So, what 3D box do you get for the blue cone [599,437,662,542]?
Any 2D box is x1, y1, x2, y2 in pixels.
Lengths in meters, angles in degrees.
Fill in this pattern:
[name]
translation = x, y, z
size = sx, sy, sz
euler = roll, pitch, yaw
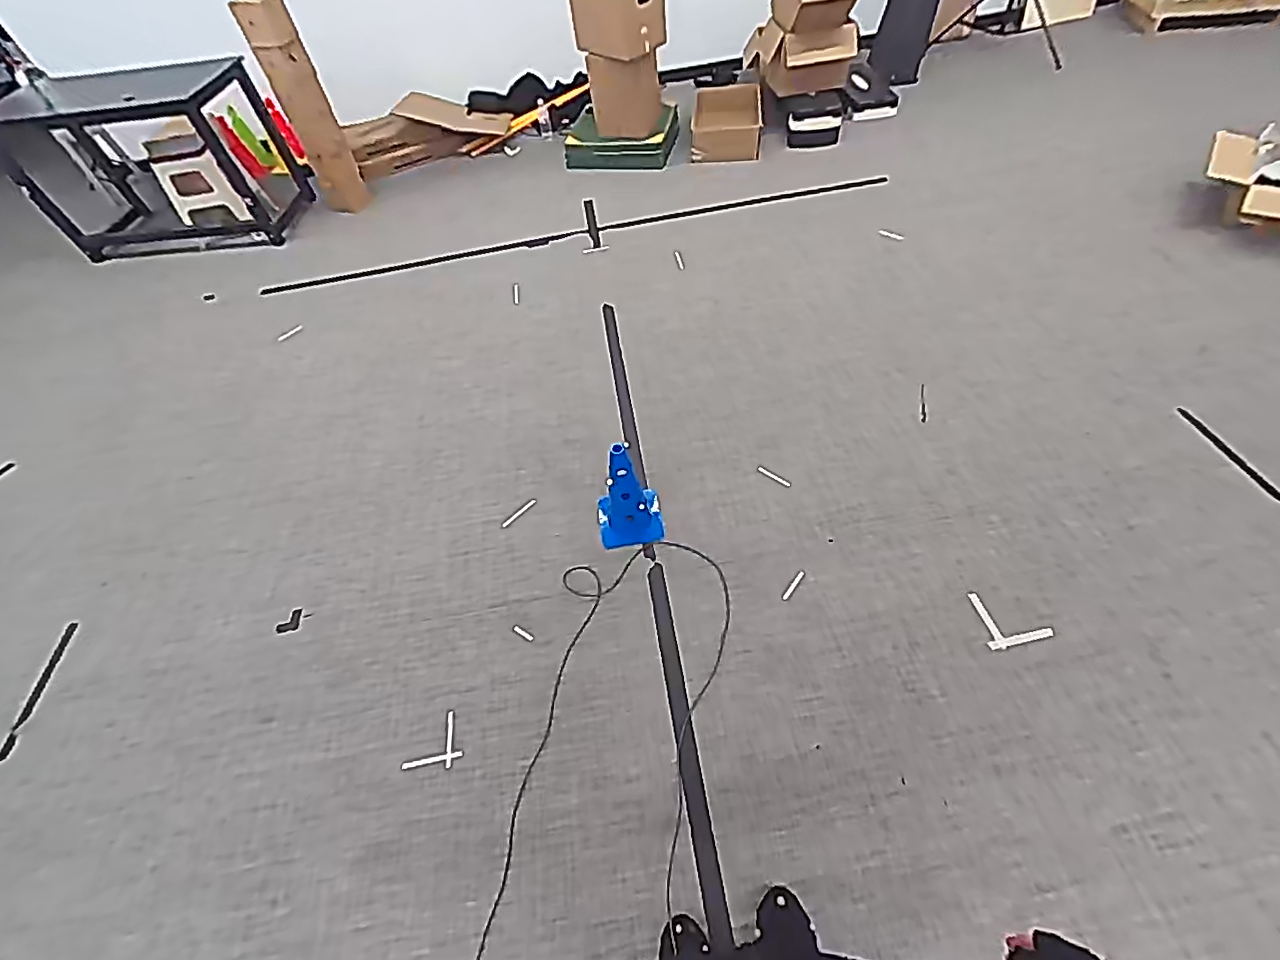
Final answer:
[blue cone]
translation = -0.048, 0.013, 1.600
size = 0.193, 0.380, 0.192
euler = -11, 53, -1
